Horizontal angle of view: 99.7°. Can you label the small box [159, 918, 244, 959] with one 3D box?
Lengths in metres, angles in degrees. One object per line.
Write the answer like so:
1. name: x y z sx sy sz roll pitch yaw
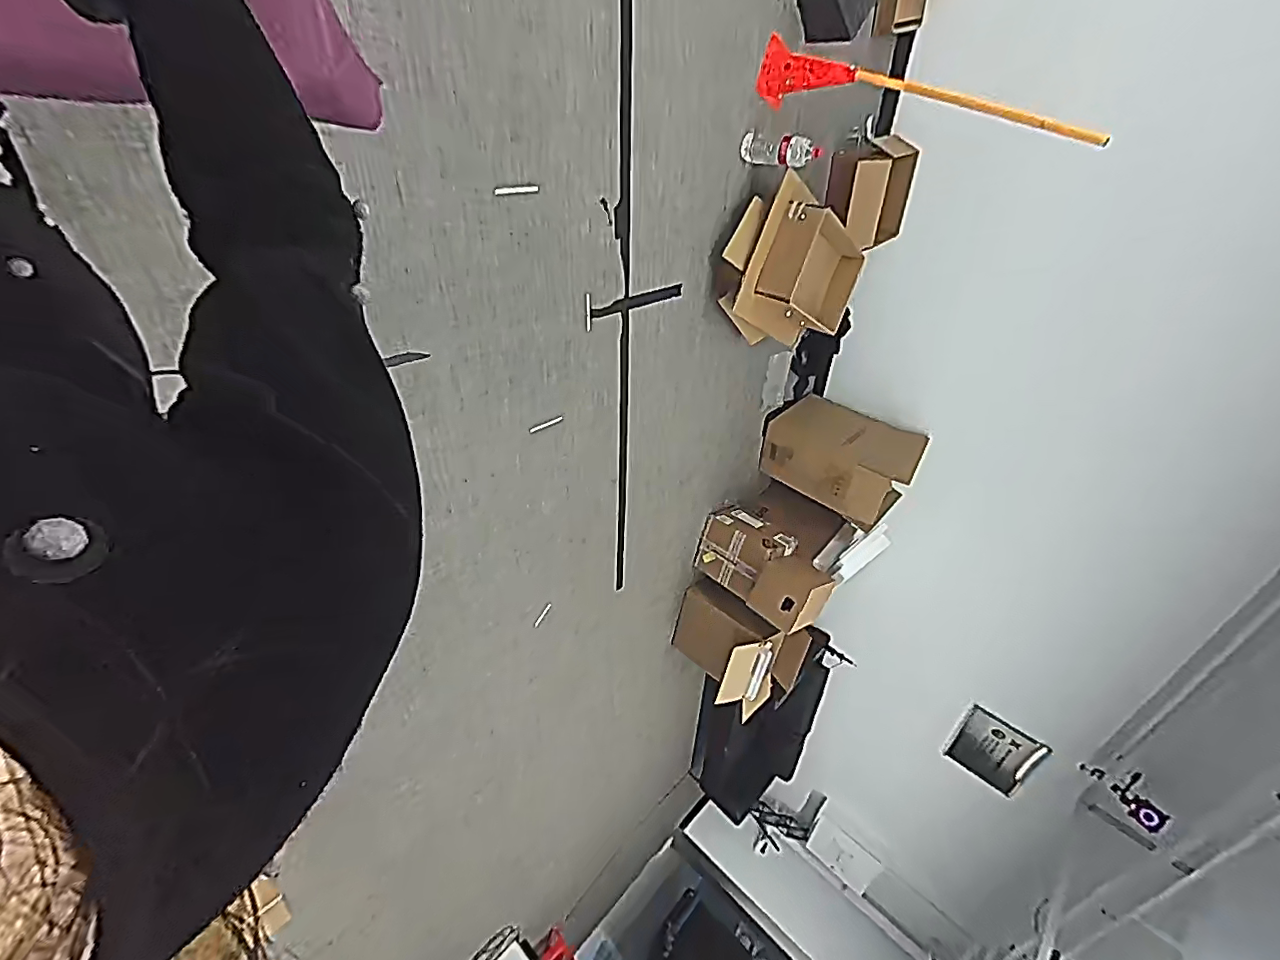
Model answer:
1. small box: -1.195 1.361 1.475 0.179 0.176 0.168 -22 131 -43
